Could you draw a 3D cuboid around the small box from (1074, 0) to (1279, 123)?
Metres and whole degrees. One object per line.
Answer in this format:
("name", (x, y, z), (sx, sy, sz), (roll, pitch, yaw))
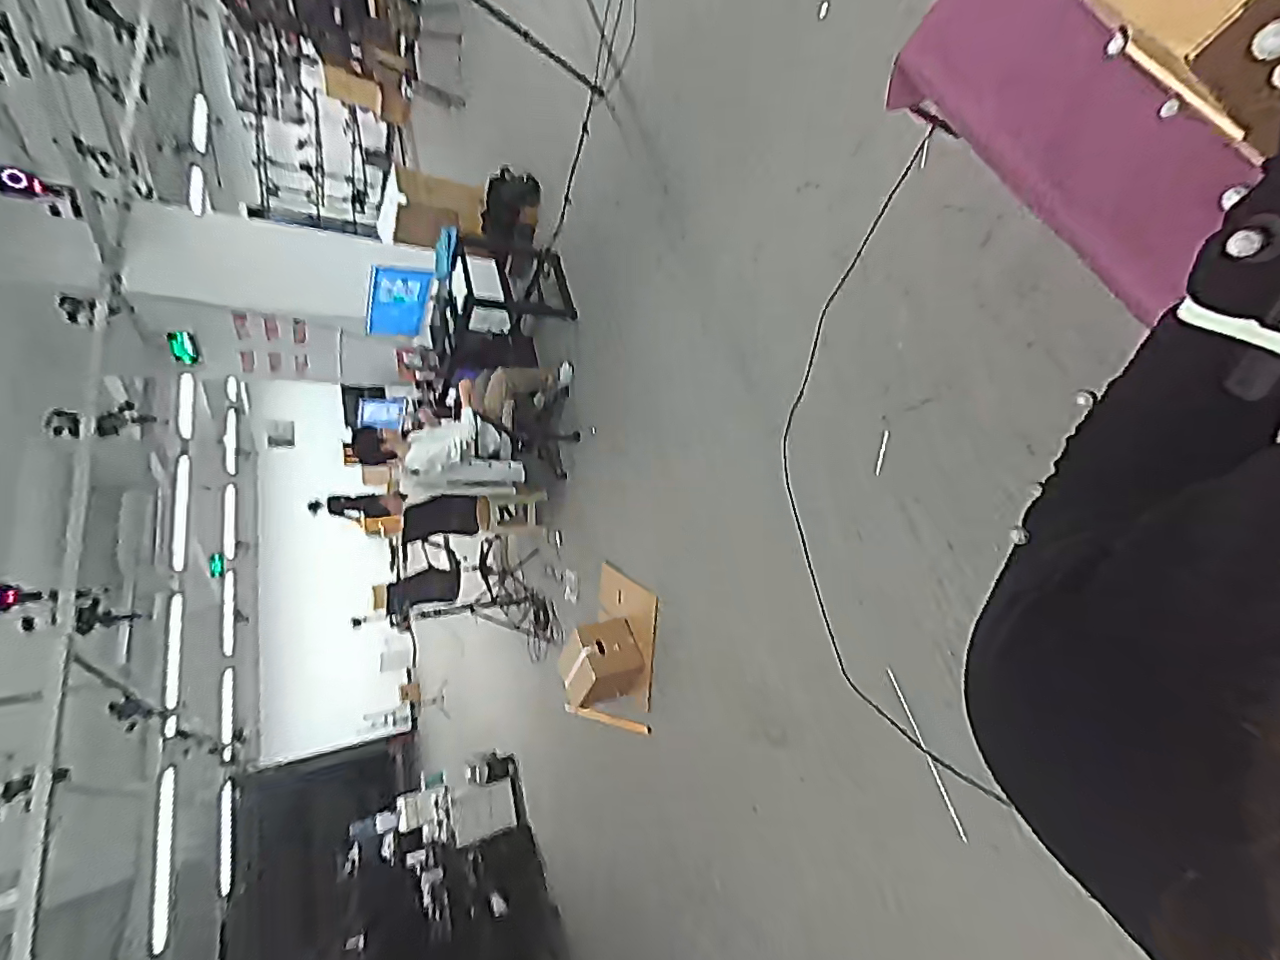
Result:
("small box", (0.442, -0.391, 0.381), (0.168, 0.176, 0.179), (-48, 51, 47))

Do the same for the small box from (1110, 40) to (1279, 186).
("small box", (0.581, -0.394, 0.468), (0.179, 0.176, 0.168), (-48, 52, 47))
